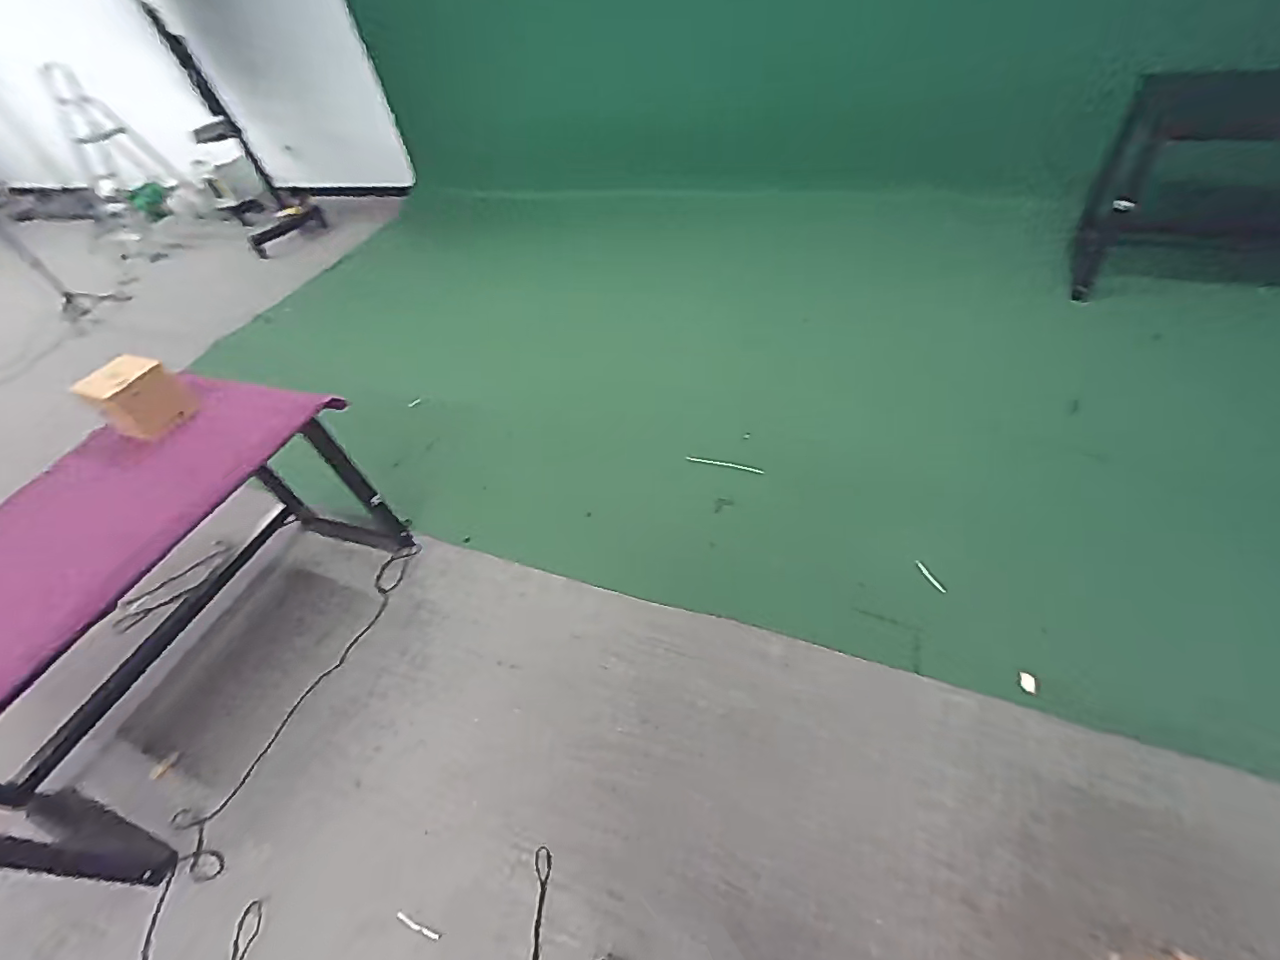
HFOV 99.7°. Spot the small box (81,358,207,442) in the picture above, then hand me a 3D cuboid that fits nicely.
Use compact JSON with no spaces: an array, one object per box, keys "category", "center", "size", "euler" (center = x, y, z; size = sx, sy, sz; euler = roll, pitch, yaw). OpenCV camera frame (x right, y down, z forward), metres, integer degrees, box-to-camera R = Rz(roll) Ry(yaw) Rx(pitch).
[{"category":"small box","center":[-1.433,-0.230,1.573],"size":[0.179,0.176,0.168],"euler":[12,53,21]}]
